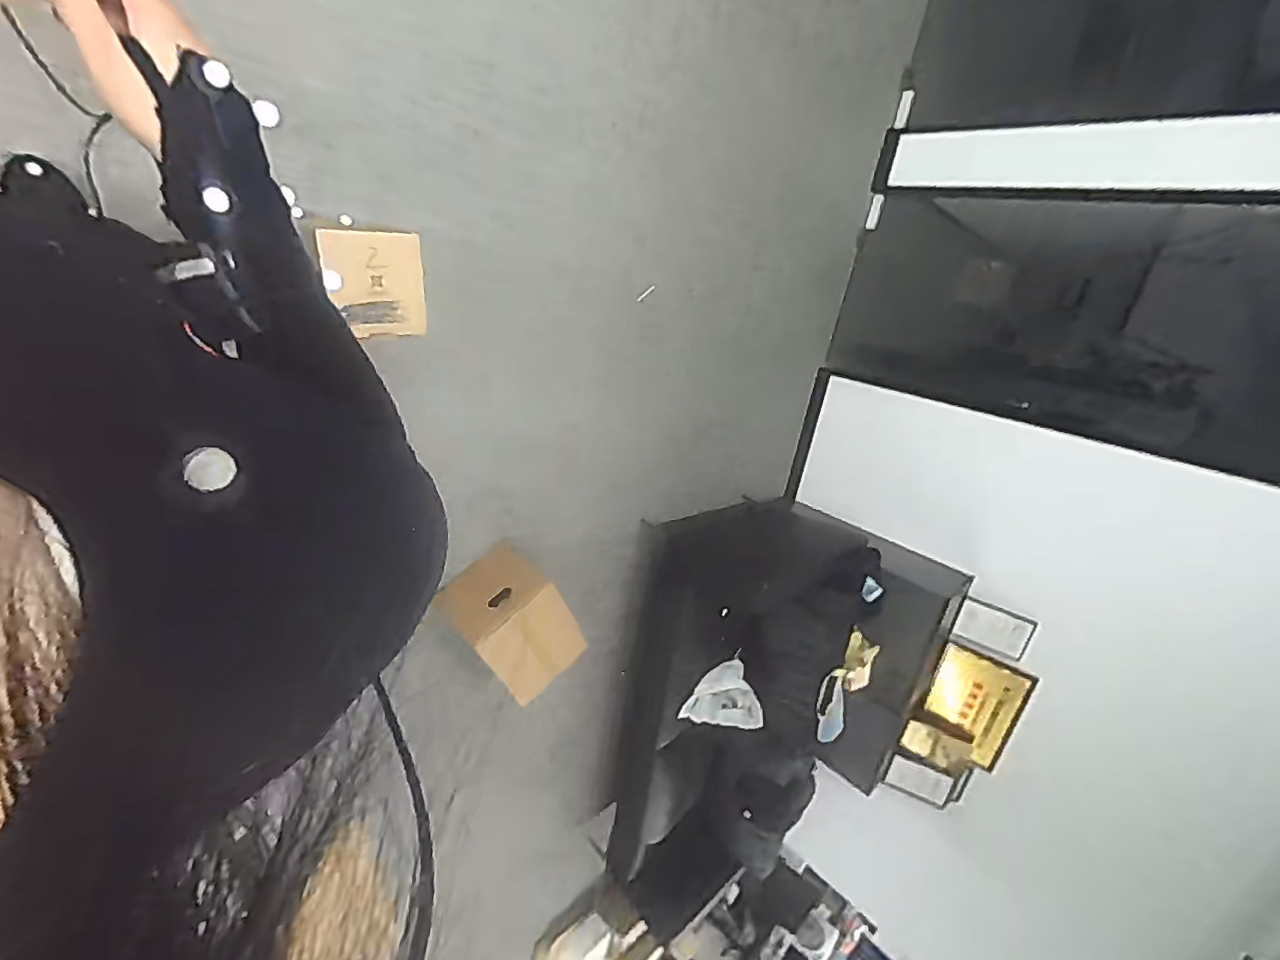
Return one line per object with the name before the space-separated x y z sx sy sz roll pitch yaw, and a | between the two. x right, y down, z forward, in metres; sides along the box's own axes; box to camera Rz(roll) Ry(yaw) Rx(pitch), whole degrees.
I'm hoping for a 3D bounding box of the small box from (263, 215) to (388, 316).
small box | -0.630 -0.428 1.081 0.179 0.176 0.168 -17 124 -43
